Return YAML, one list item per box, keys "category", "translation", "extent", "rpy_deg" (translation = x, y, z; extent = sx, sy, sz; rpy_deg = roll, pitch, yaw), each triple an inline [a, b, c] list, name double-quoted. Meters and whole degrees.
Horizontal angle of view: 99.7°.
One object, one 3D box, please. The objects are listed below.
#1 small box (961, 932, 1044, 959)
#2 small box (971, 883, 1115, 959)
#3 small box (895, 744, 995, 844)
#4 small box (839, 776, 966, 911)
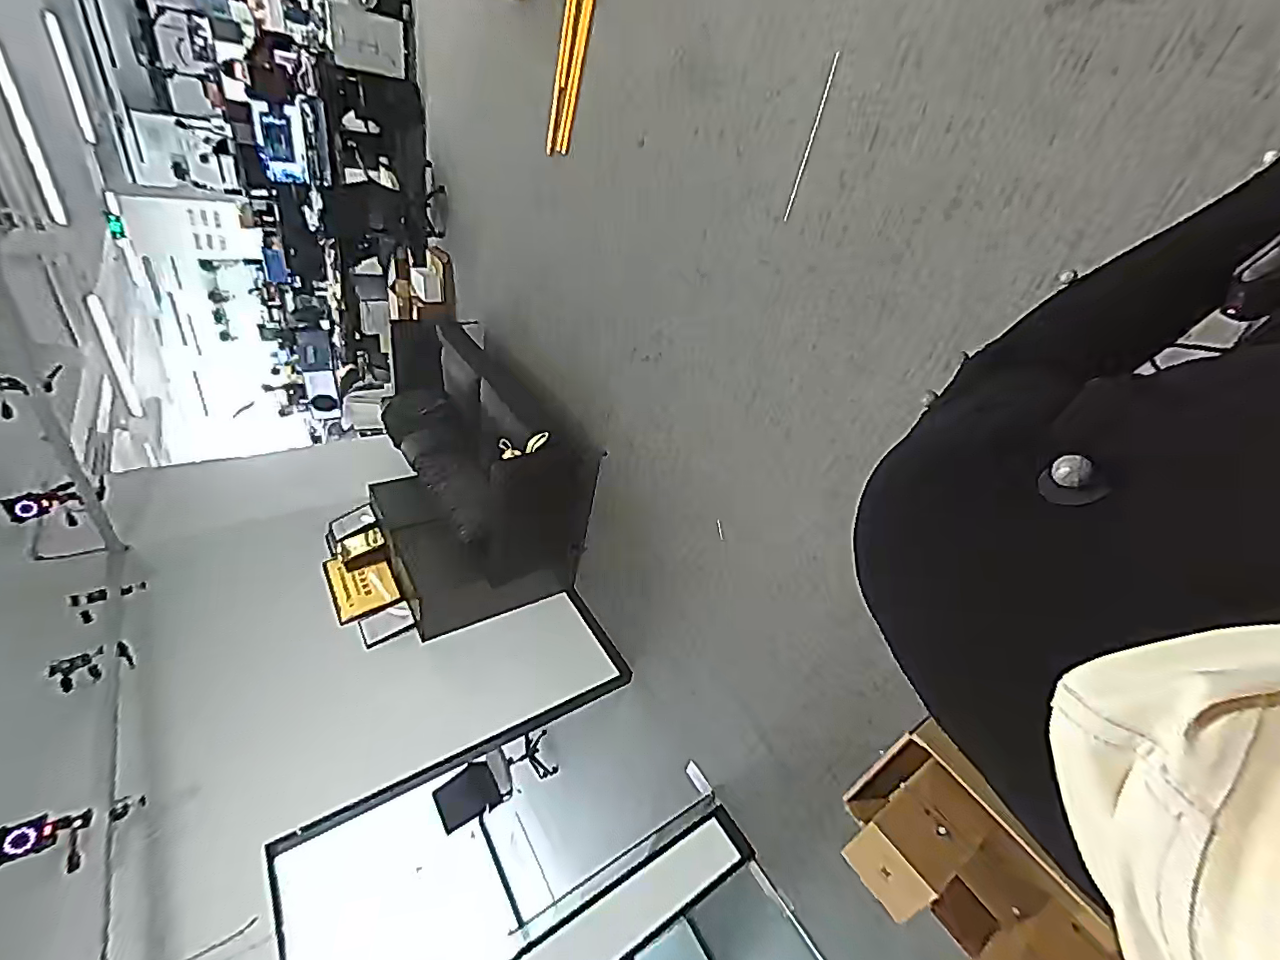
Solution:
- category: "small box"
  translation: [0.757, 1.079, 1.104]
  extent: [0.168, 0.176, 0.179]
  rpy_deg: [49, 138, 33]
- category: "small box"
  translation: [0.890, 1.045, 1.194]
  extent: [0.168, 0.176, 0.179]
  rpy_deg: [48, 138, 35]
- category: "small box"
  translation: [0.729, 0.790, 1.326]
  extent: [0.168, 0.176, 0.179]
  rpy_deg: [46, 137, 36]
- category: "small box"
  translation: [0.599, 0.823, 1.234]
  extent: [0.168, 0.176, 0.179]
  rpy_deg: [45, 136, 37]
